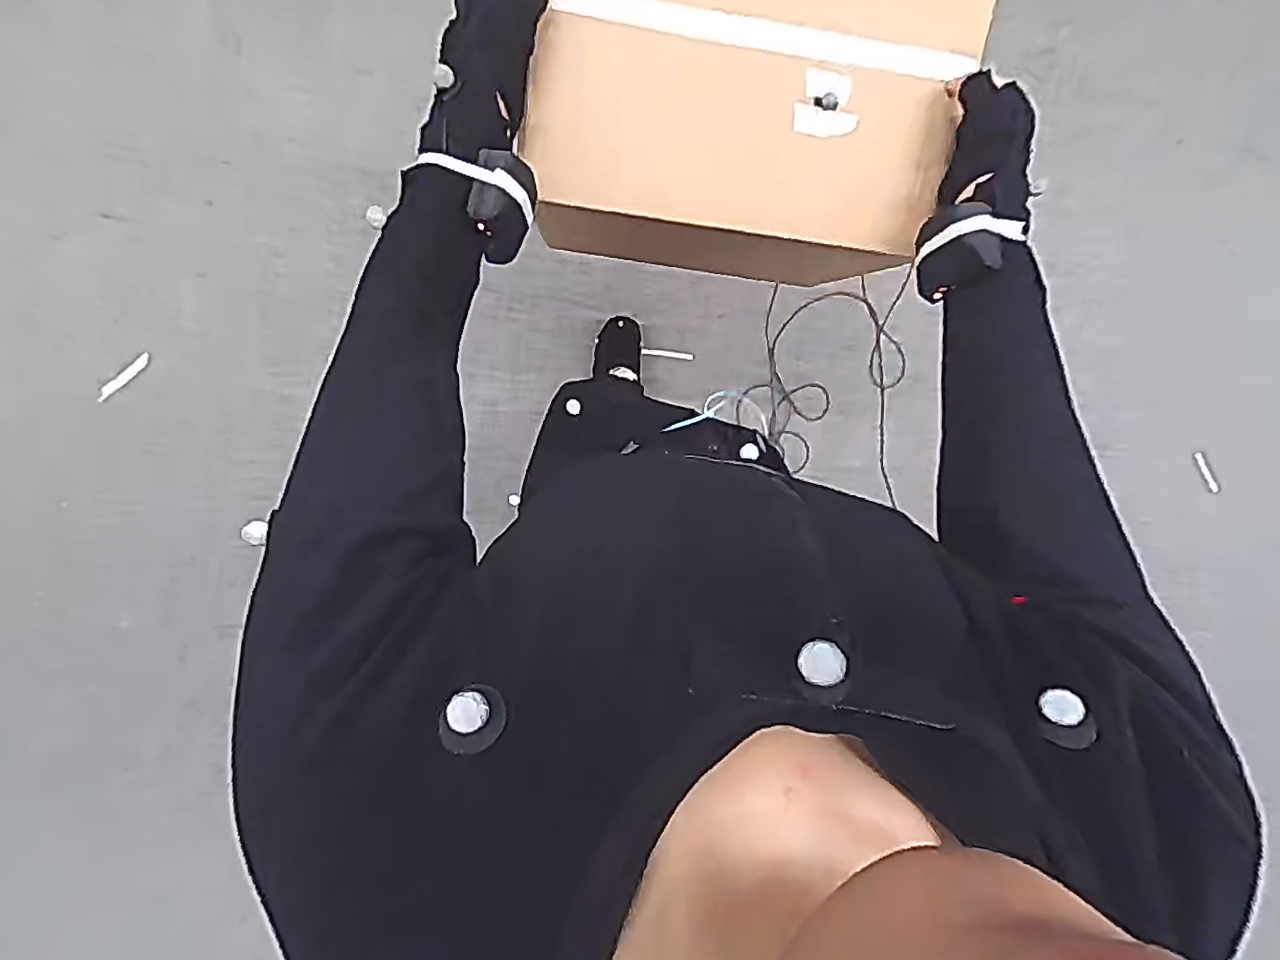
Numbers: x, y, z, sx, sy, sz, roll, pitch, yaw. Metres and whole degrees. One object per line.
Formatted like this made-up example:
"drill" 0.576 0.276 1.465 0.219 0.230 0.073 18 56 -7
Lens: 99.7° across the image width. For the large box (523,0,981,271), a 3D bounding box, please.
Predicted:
"large box" 0.090 -0.442 0.622 0.408 0.320 0.320 6 105 -7
